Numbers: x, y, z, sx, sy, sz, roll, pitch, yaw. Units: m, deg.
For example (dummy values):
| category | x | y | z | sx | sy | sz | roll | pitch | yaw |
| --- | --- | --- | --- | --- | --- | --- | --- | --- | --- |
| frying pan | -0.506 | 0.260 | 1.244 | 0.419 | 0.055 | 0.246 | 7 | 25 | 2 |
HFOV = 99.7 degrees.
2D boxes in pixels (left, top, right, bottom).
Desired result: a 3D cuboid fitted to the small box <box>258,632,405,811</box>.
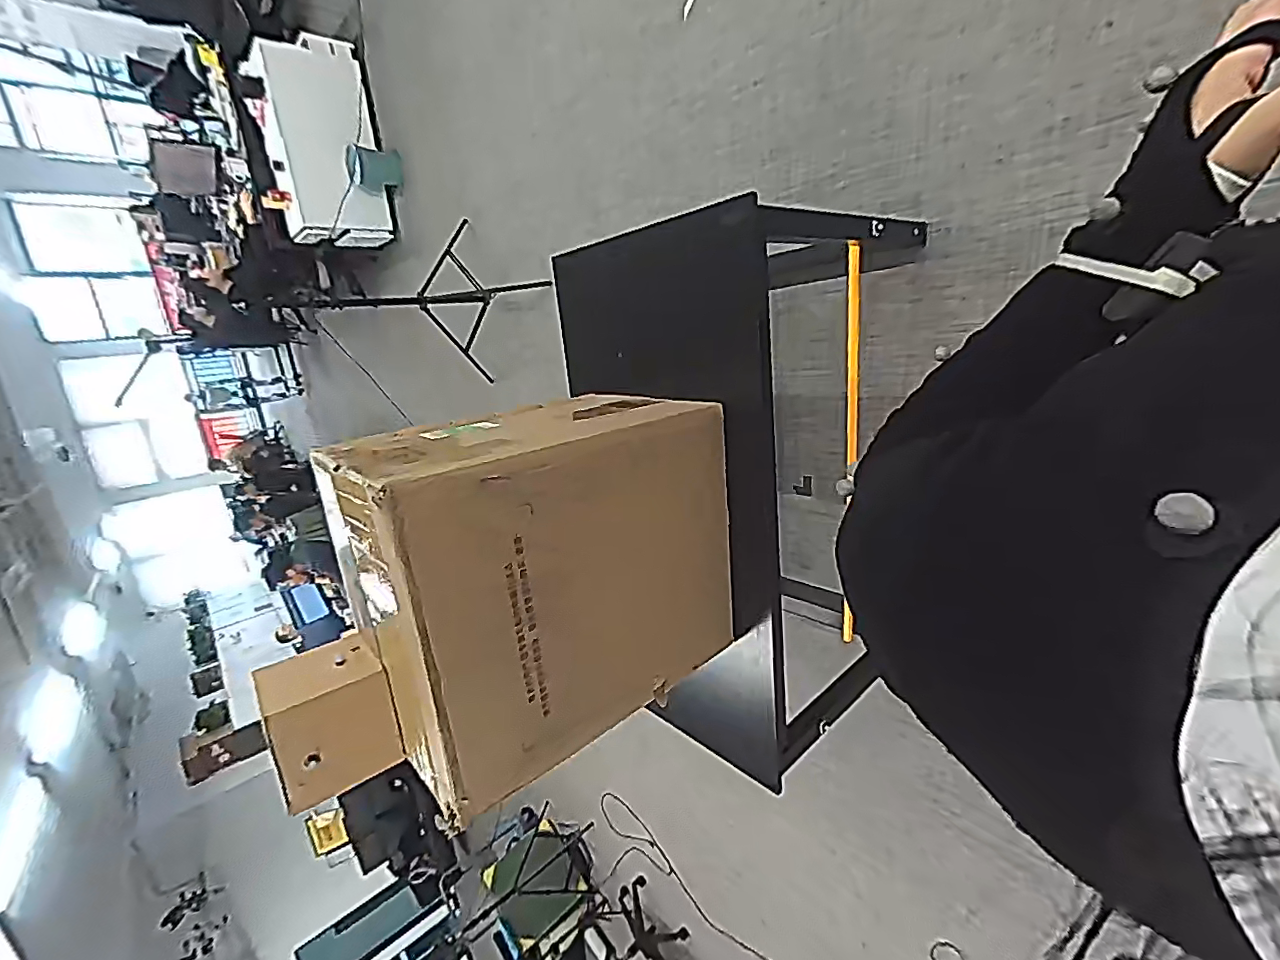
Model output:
| category | x | y | z | sx | sy | sz | roll | pitch | yaw |
| --- | --- | --- | --- | --- | --- | --- | --- | --- | --- |
| small box | -0.505 | 0.384 | 0.894 | 0.168 | 0.176 | 0.179 | 13 | 113 | 49 |
